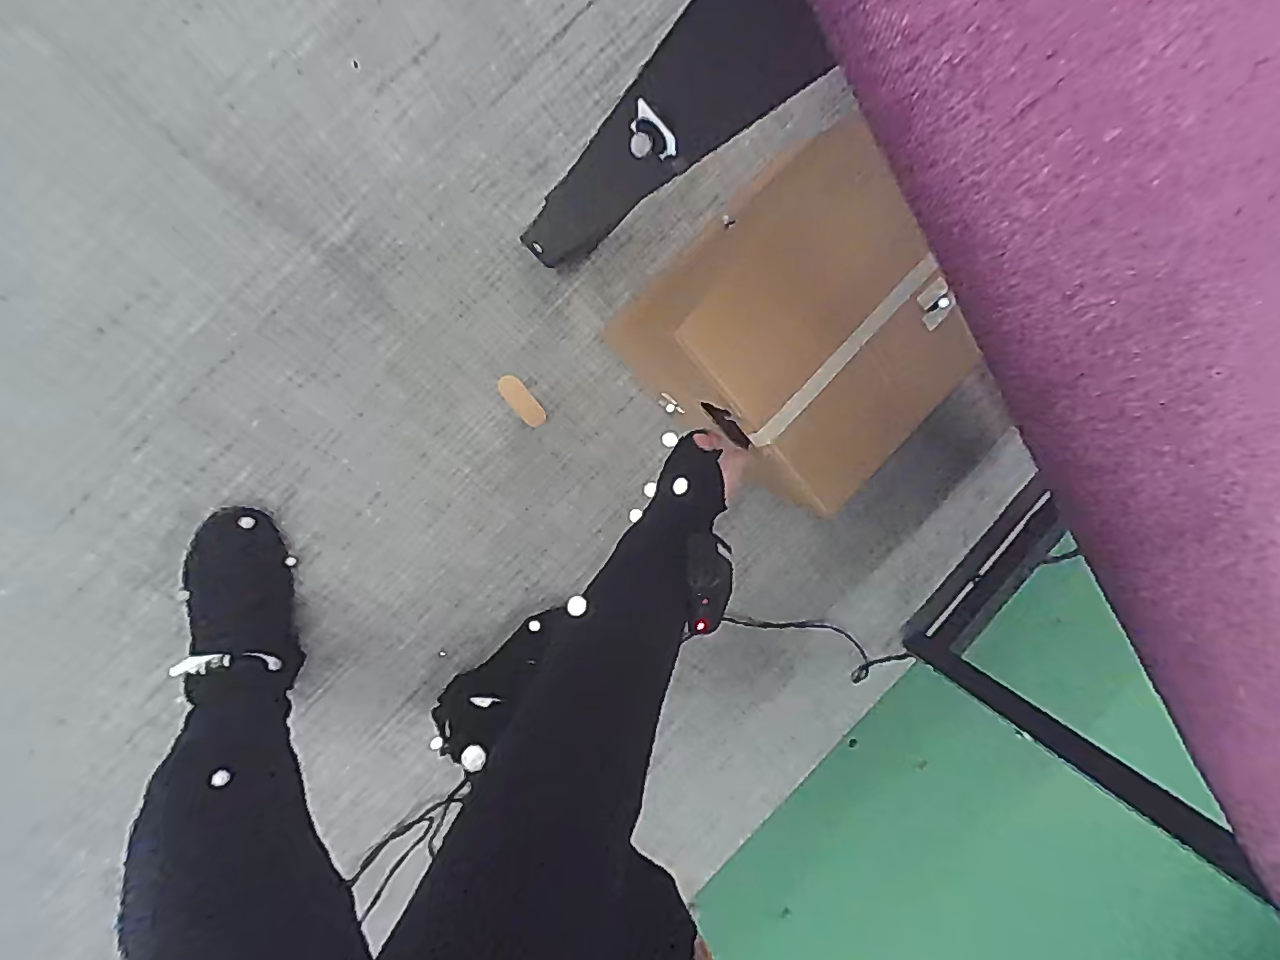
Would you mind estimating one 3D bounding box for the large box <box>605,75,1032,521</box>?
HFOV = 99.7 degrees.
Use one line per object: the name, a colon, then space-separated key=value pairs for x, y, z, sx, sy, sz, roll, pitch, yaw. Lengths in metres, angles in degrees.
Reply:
large box: x=0.218 y=-0.219 z=0.754 sx=0.408 sy=0.320 sz=0.320 roll=-47 pitch=113 yaw=-3
